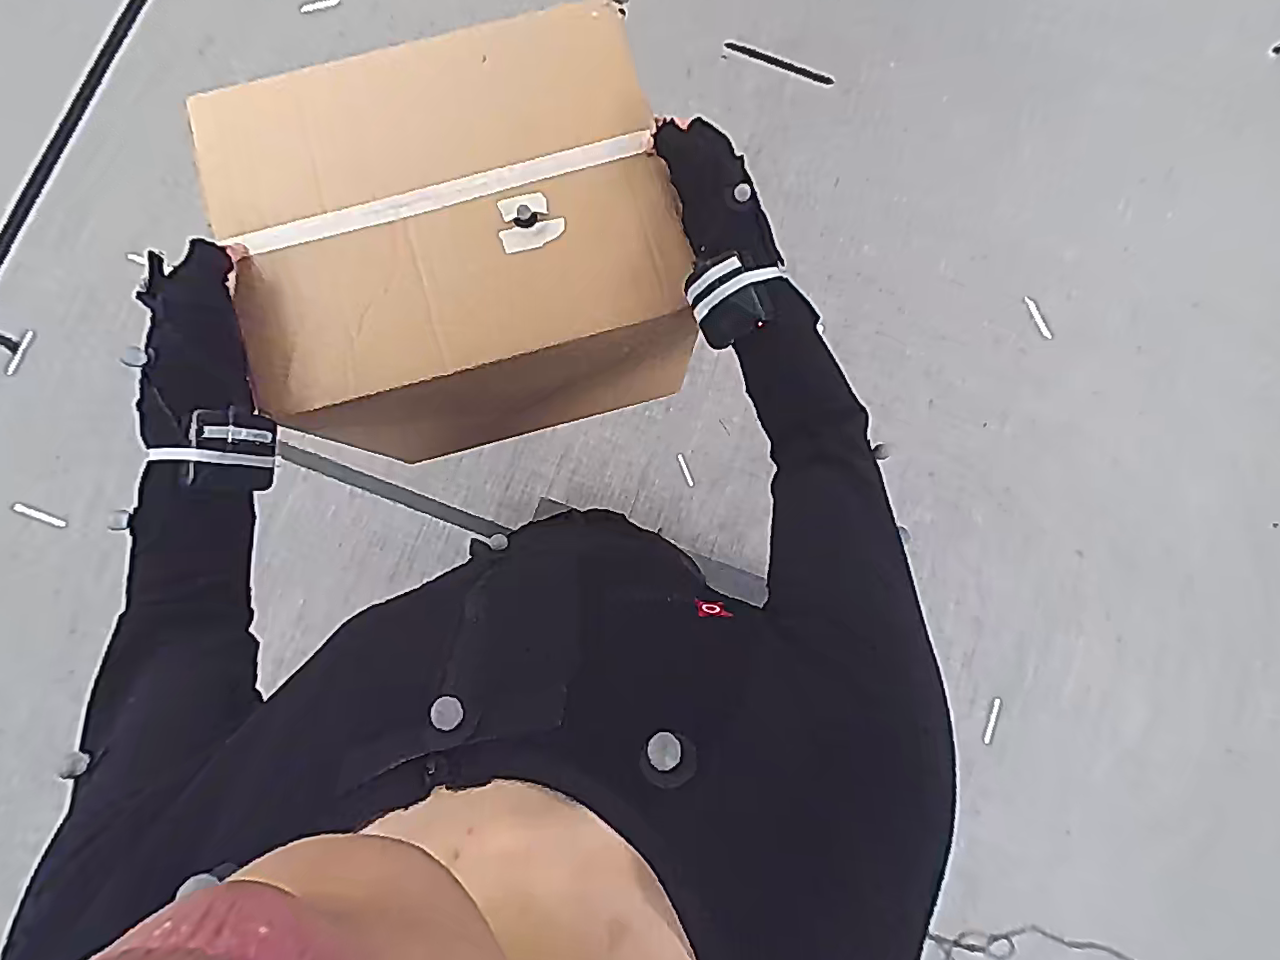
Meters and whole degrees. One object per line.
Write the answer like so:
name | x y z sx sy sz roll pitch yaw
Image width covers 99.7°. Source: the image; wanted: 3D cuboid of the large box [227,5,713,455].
large box | -0.164 -0.247 0.650 0.408 0.320 0.320 -15 85 -2
